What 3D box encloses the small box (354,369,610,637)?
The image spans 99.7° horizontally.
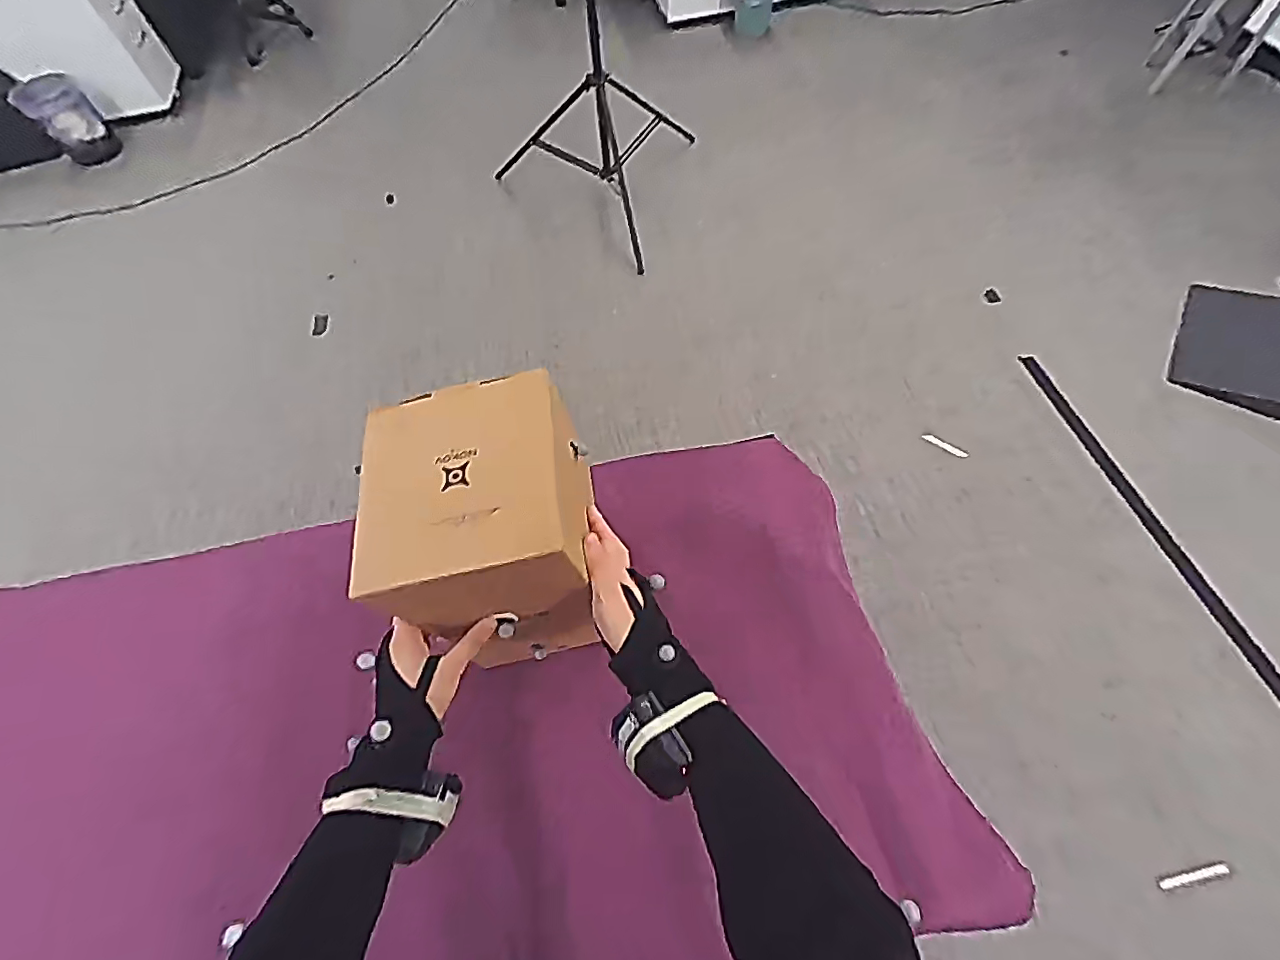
[{"bbox_3d":[-0.131,0.030,0.502,0.168,0.176,0.179,-13,62,3],"label":"small box"}]

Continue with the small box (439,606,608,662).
[{"bbox_3d":[-0.140,0.108,0.668,0.168,0.176,0.179,-13,63,-3],"label":"small box"}]
